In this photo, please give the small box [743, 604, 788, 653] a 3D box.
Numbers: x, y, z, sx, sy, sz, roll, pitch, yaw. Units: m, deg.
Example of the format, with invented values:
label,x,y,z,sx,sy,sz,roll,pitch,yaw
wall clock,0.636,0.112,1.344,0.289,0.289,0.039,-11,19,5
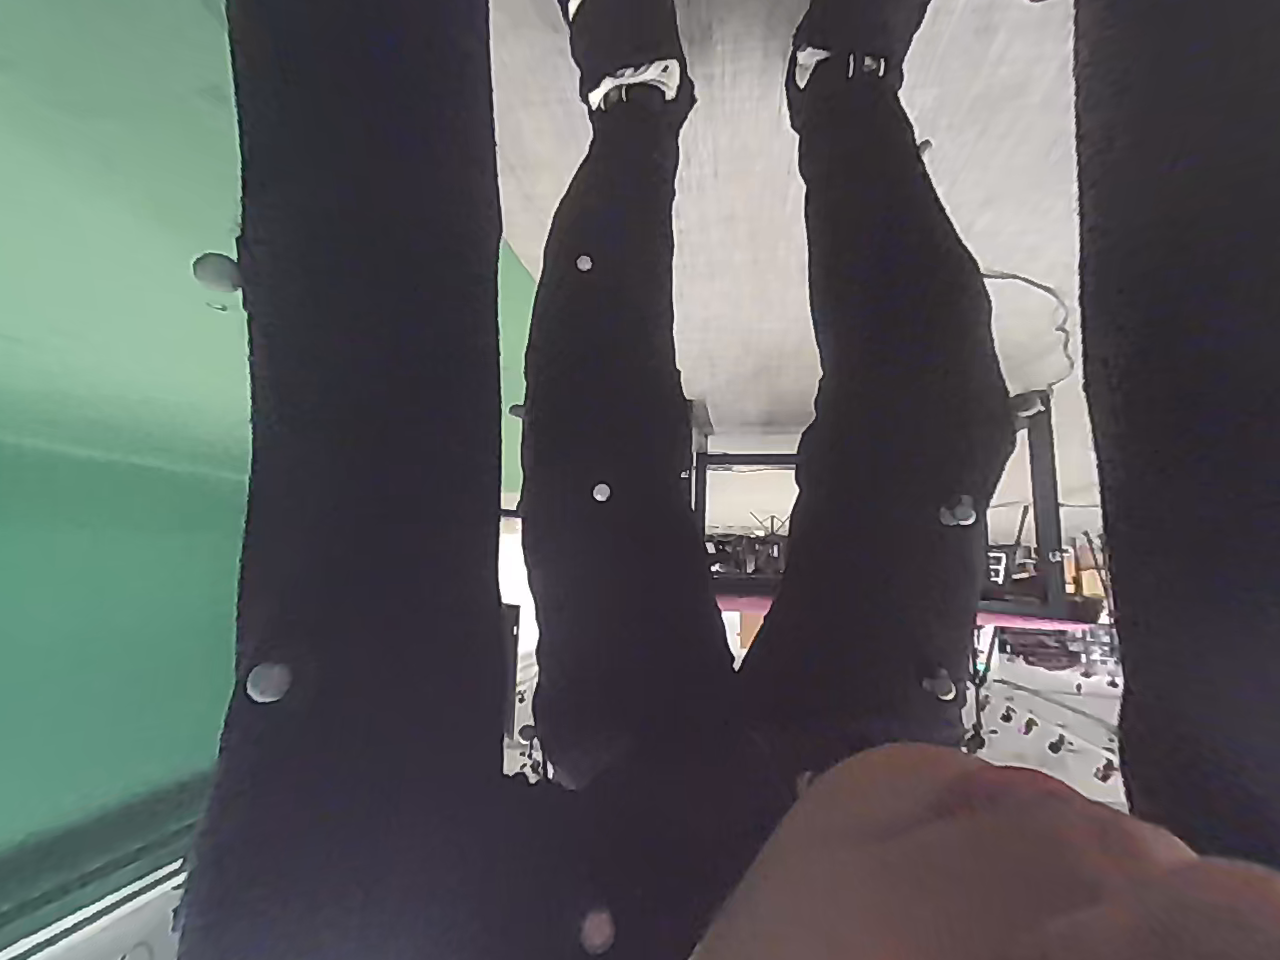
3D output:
label,x,y,z,sx,sy,sz,roll,pitch,yaw
small box,0.487,0.575,2.111,0.168,0.176,0.179,0,172,11
